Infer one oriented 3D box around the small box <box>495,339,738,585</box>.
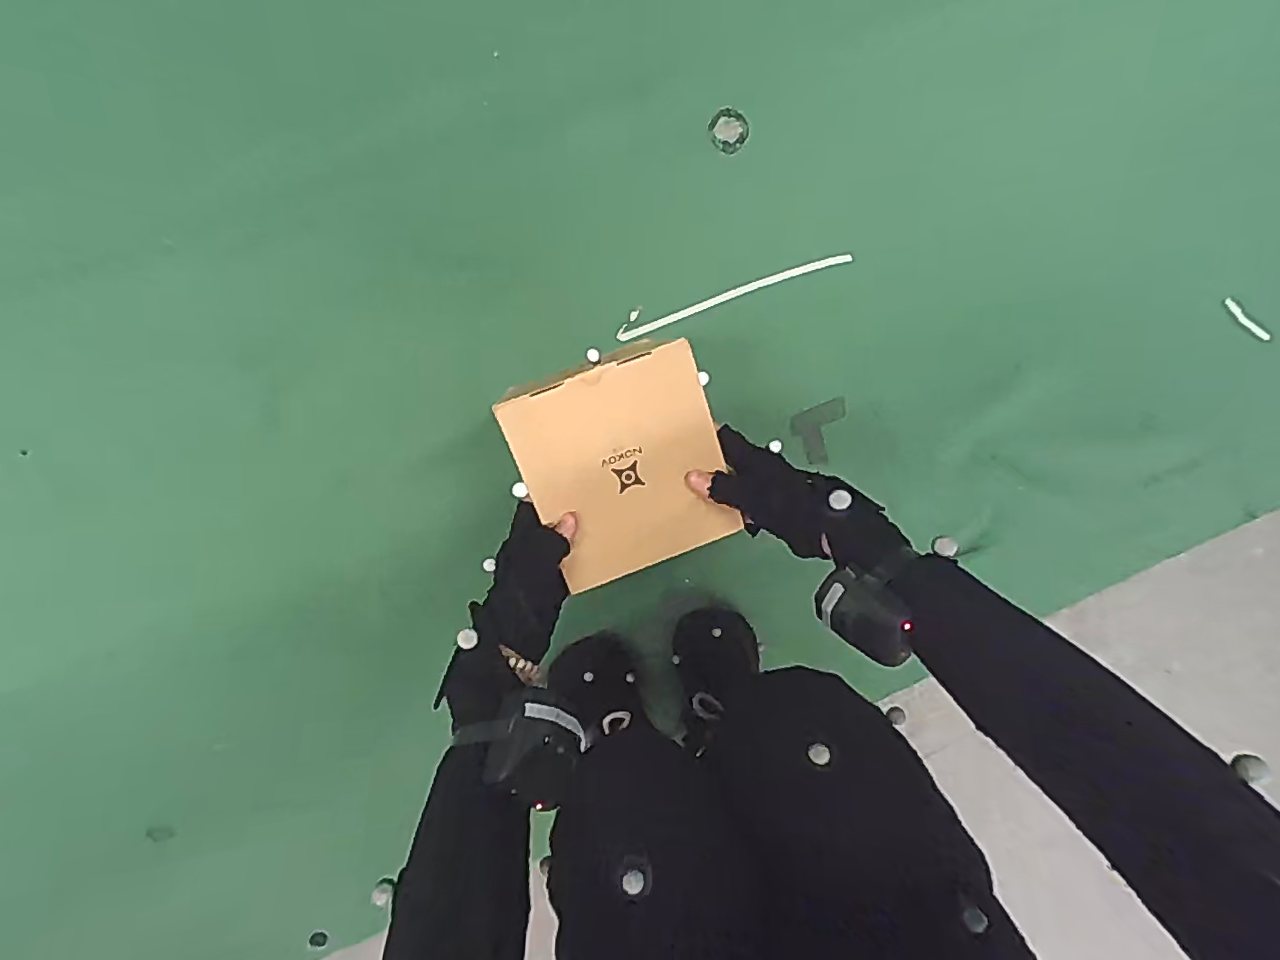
[{"bbox_3d":[-0.024,-0.030,0.534,0.168,0.176,0.179,-21,105,-4],"label":"small box"}]
